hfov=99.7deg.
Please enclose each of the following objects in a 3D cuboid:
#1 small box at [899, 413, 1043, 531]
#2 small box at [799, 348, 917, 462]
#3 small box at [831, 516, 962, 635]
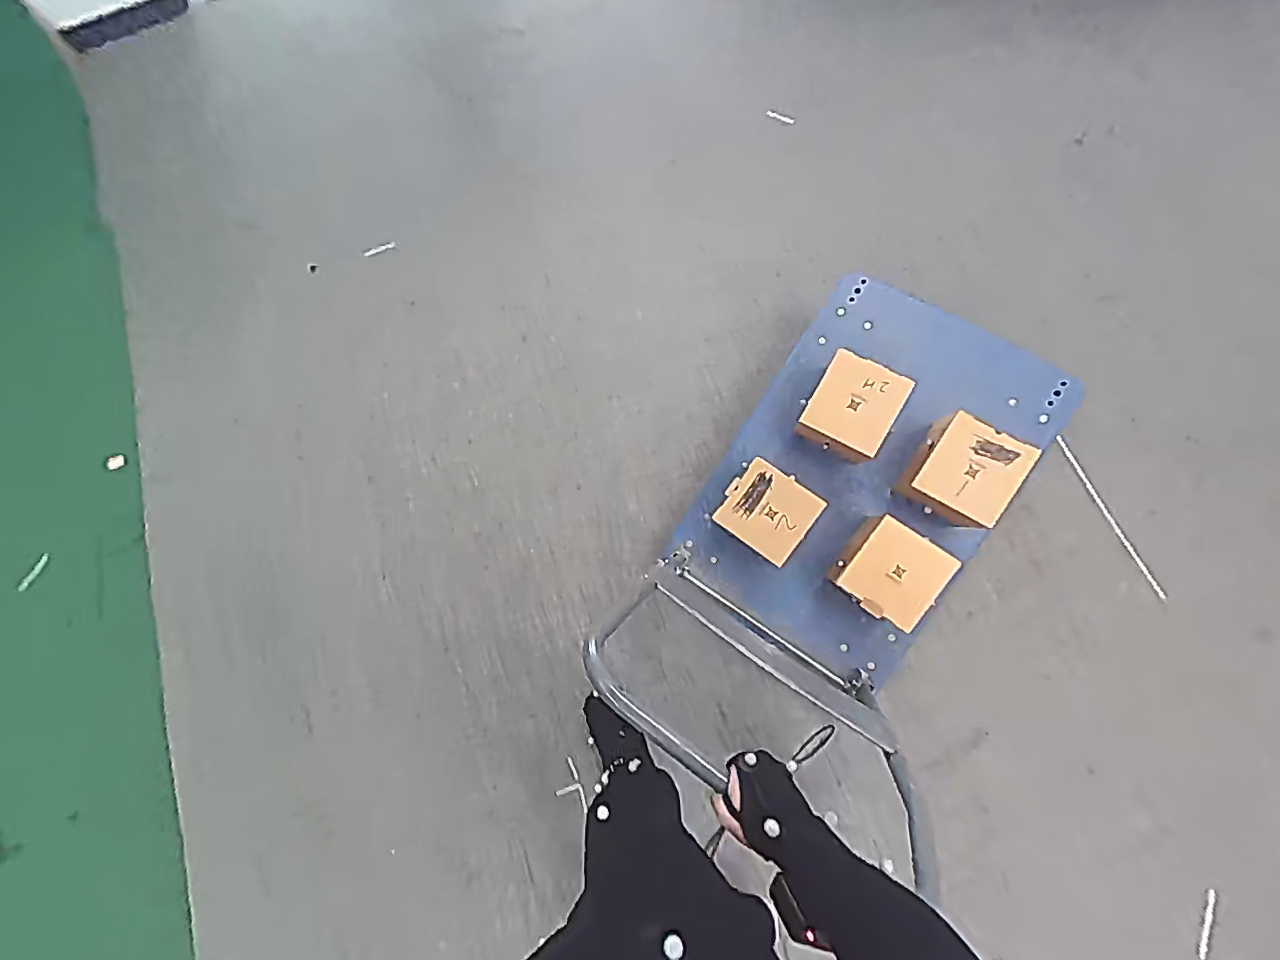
[{"bbox_3d":[0.665,-0.013,1.116,0.168,0.176,0.179,33,95,13],"label":"small box"},{"bbox_3d":[0.459,-0.152,1.170,0.168,0.176,0.179,30,93,12],"label":"small box"},{"bbox_3d":[0.523,0.190,1.136,0.168,0.176,0.179,36,95,12],"label":"small box"}]
